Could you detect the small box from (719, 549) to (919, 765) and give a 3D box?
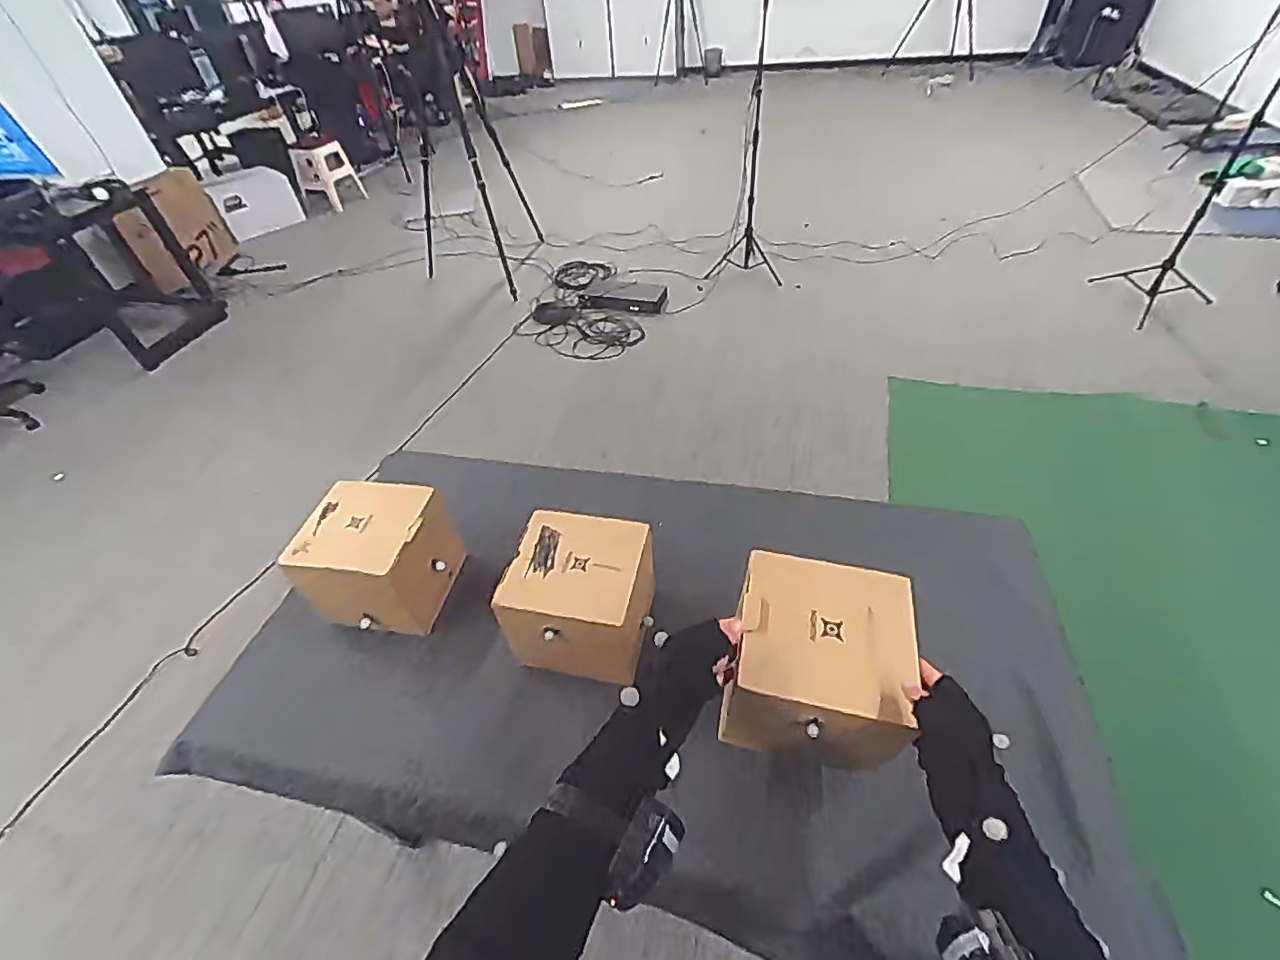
[{"bbox_3d":[0.191,0.205,0.620,0.179,0.176,0.168,10,50,8],"label":"small box"}]

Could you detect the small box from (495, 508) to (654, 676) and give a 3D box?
[{"bbox_3d":[-0.081,0.164,0.787,0.179,0.176,0.168,7,47,11],"label":"small box"}]

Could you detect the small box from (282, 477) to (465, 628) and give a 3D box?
[{"bbox_3d":[-0.404,0.118,0.860,0.179,0.176,0.168,5,46,9],"label":"small box"}]
